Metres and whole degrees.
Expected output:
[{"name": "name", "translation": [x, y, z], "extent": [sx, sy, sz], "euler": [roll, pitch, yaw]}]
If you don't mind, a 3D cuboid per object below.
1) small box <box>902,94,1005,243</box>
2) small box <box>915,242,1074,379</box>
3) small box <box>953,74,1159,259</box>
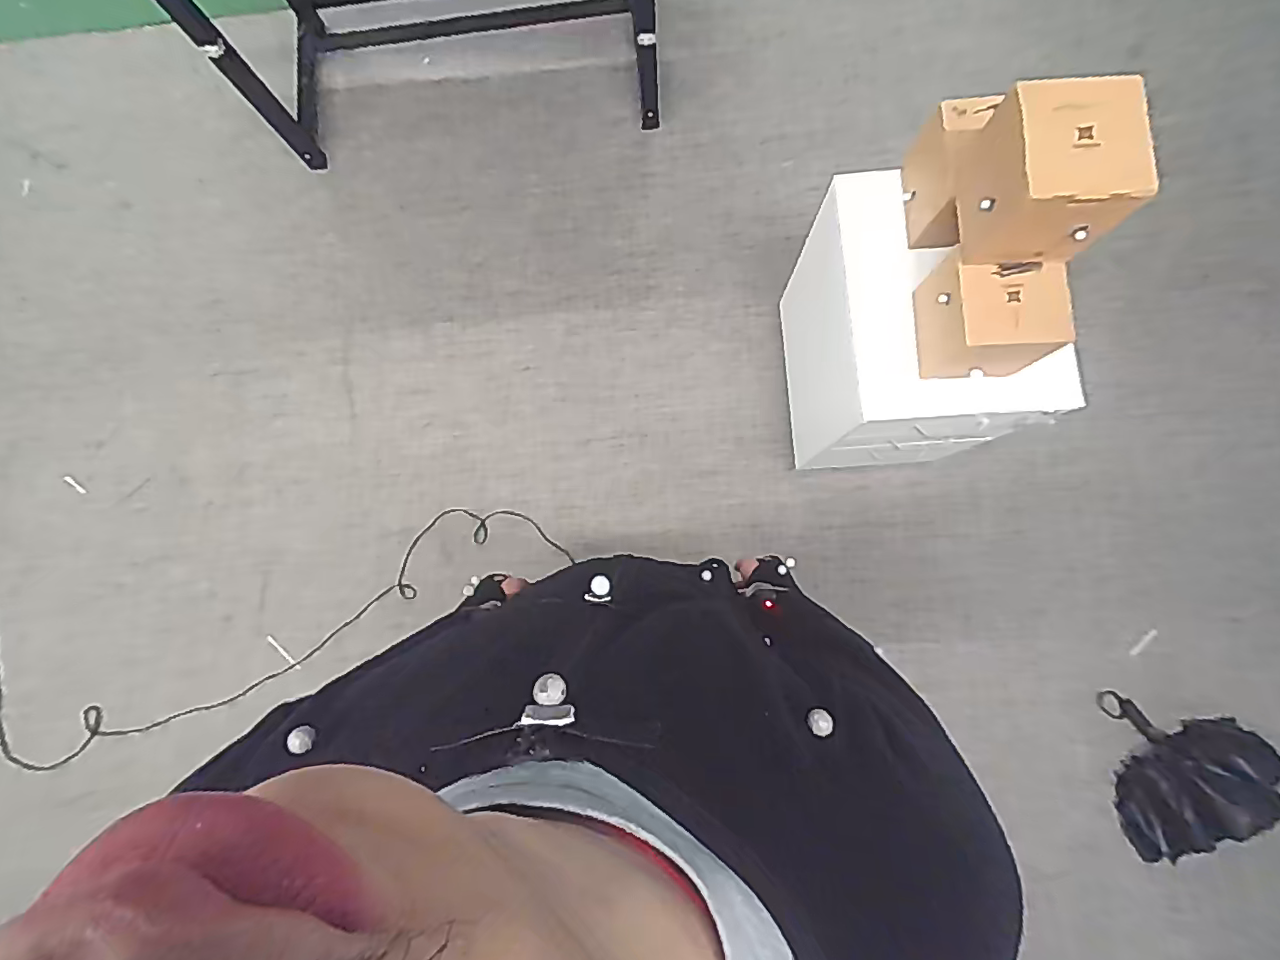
[{"name": "small box", "translation": [0.590, -0.543, 0.965], "extent": [0.168, 0.176, 0.179], "euler": [-3, 84, 3]}, {"name": "small box", "translation": [0.593, -0.285, 0.929], "extent": [0.168, 0.176, 0.179], "euler": [-1, 82, 4]}, {"name": "small box", "translation": [0.587, -0.440, 0.787], "extent": [0.168, 0.176, 0.179], "euler": [-1, 81, 2]}]
